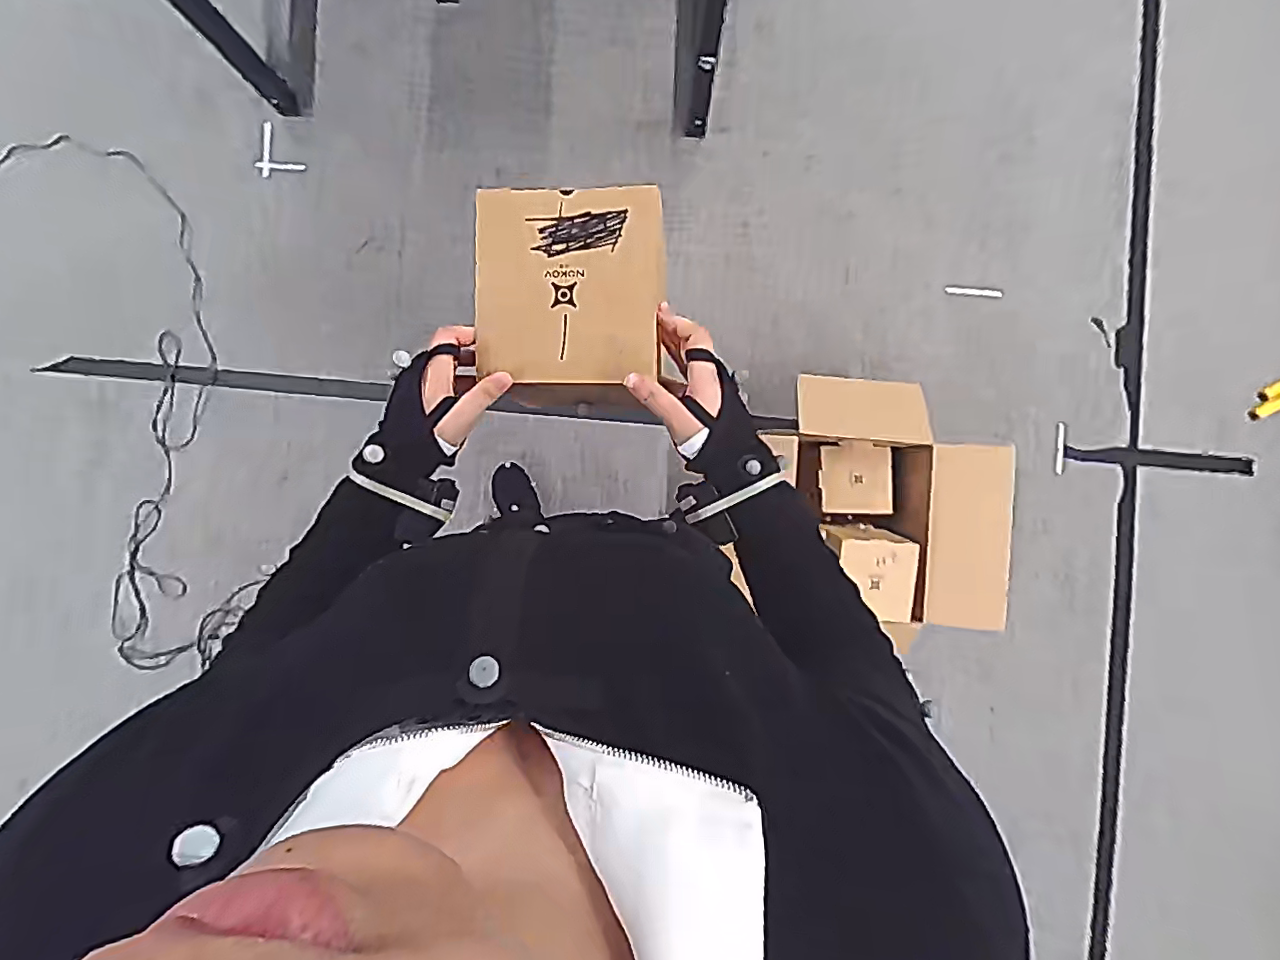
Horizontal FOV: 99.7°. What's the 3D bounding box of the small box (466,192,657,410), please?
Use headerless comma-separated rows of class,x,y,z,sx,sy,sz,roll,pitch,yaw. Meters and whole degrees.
small box,-0.070,-0.173,0.569,0.168,0.176,0.179,1,91,5
